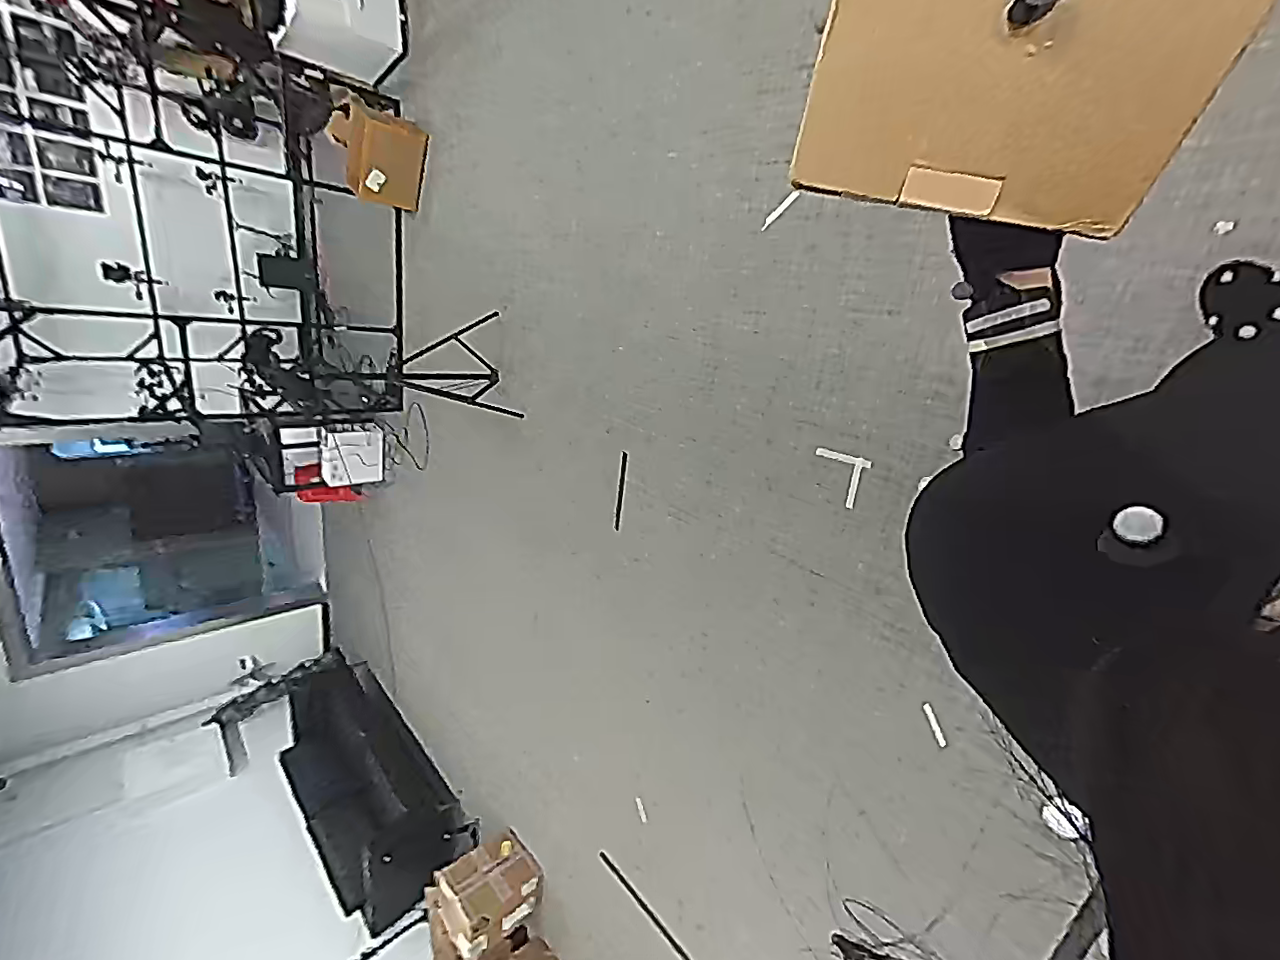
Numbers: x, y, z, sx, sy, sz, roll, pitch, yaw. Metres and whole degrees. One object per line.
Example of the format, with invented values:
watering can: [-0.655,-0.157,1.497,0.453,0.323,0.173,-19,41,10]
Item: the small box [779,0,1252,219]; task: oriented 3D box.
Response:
small box: [0.181,-0.255,0.271,0.168,0.179,0.176,18,134,12]
